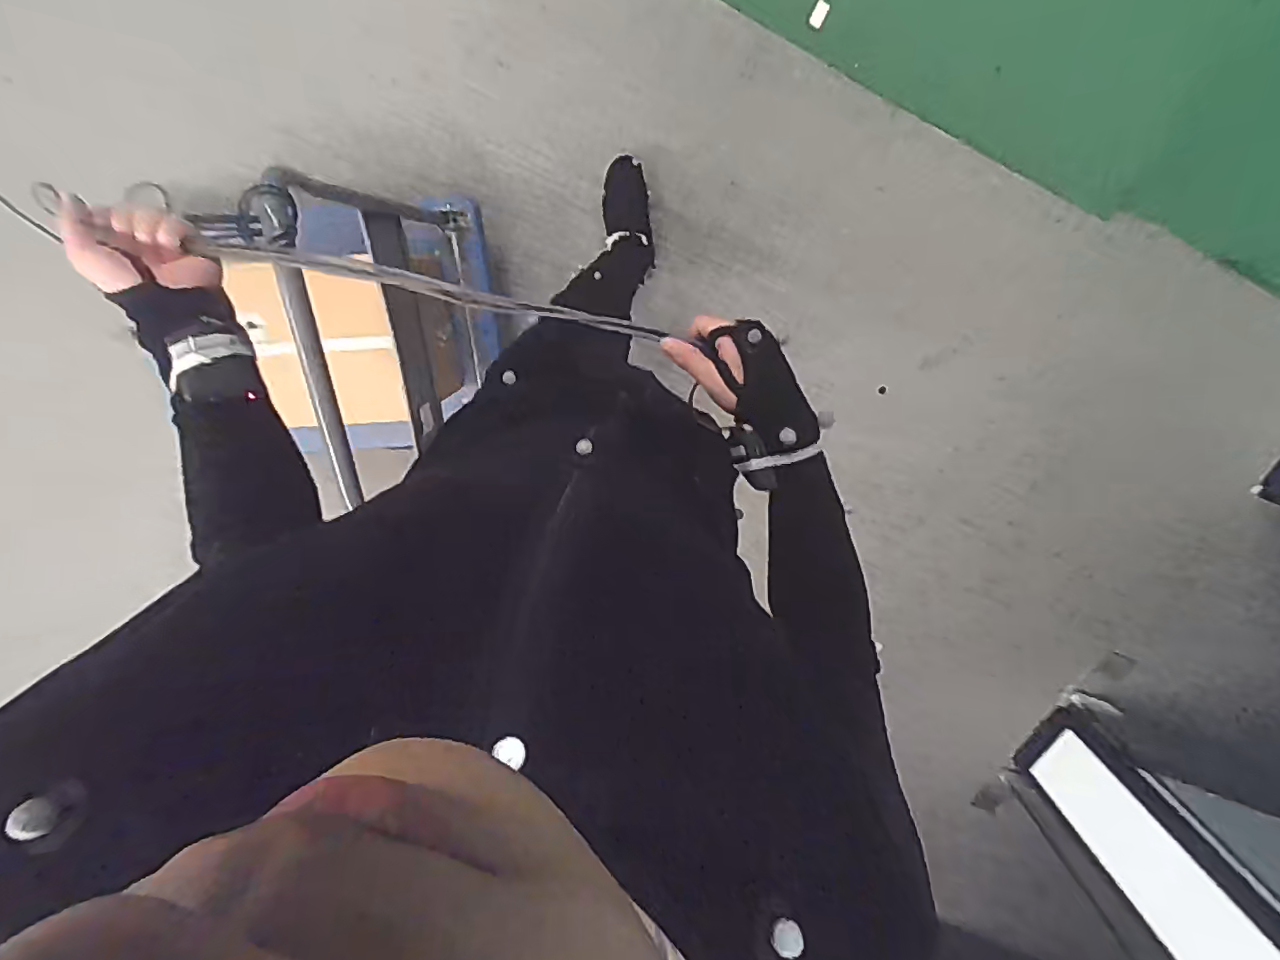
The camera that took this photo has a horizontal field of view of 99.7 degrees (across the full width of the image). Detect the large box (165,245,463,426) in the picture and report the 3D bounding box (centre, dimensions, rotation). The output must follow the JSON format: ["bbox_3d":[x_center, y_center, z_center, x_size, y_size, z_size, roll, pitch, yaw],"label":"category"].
[{"bbox_3d":[-0.649,-0.319,1.161,0.408,0.320,0.320,-3,112,2],"label":"large box"}]
